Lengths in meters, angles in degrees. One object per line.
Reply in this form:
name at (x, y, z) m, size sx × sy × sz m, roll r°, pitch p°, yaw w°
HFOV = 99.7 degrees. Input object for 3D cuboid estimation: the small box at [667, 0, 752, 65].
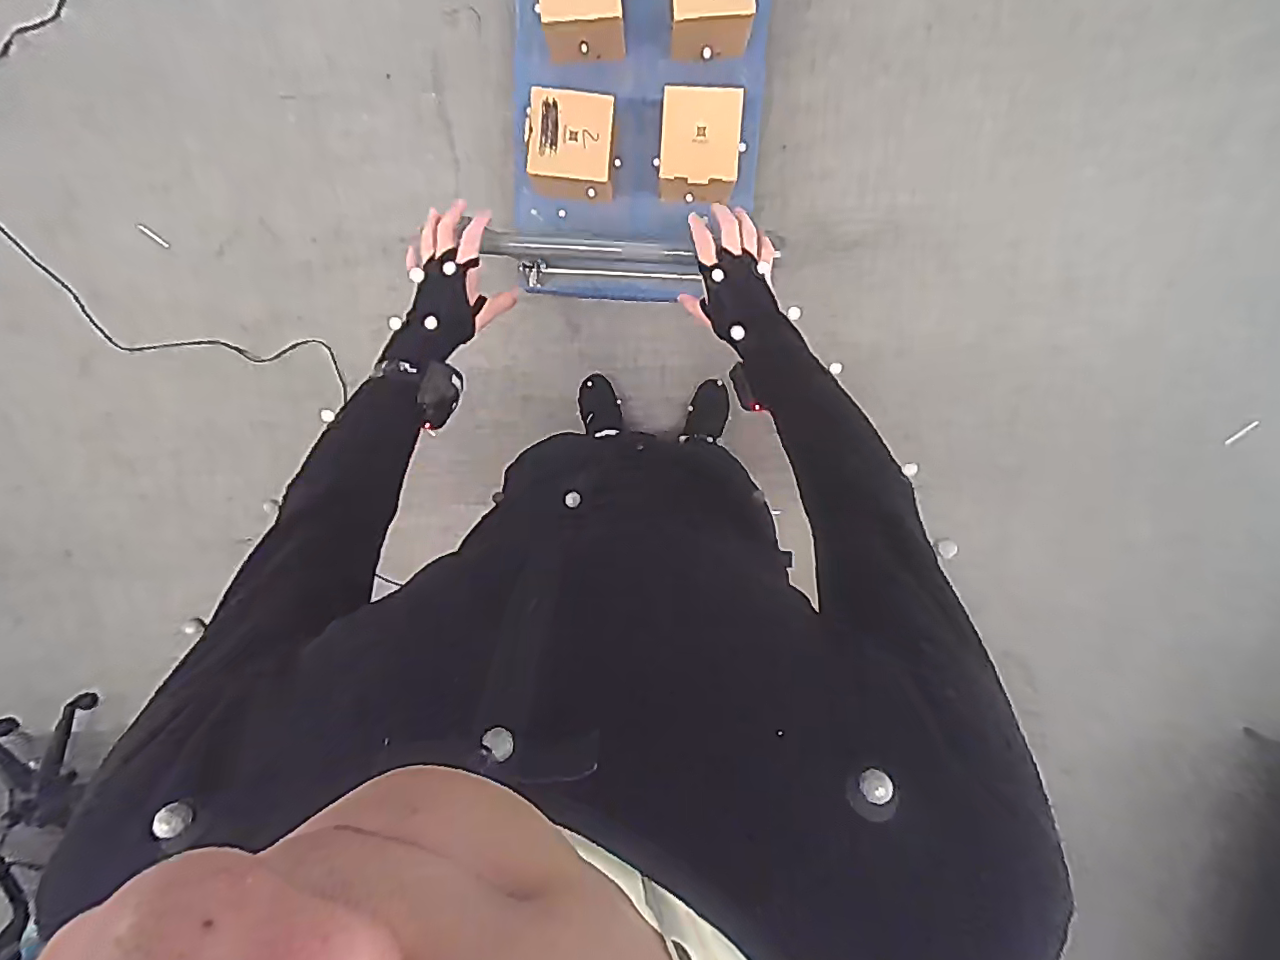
small box at (0.142, -1.024, 1.145) m, size 0.168 × 0.176 × 0.179 m, roll -2°, pitch 103°, yaw 2°

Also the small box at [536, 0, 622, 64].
small box at (-0.127, -1.022, 1.151) m, size 0.168 × 0.176 × 0.179 m, roll -3°, pitch 103°, yaw 1°

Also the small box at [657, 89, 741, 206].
small box at (0.125, -0.736, 1.211) m, size 0.168 × 0.176 × 0.179 m, roll 3°, pitch 103°, yaw 1°
